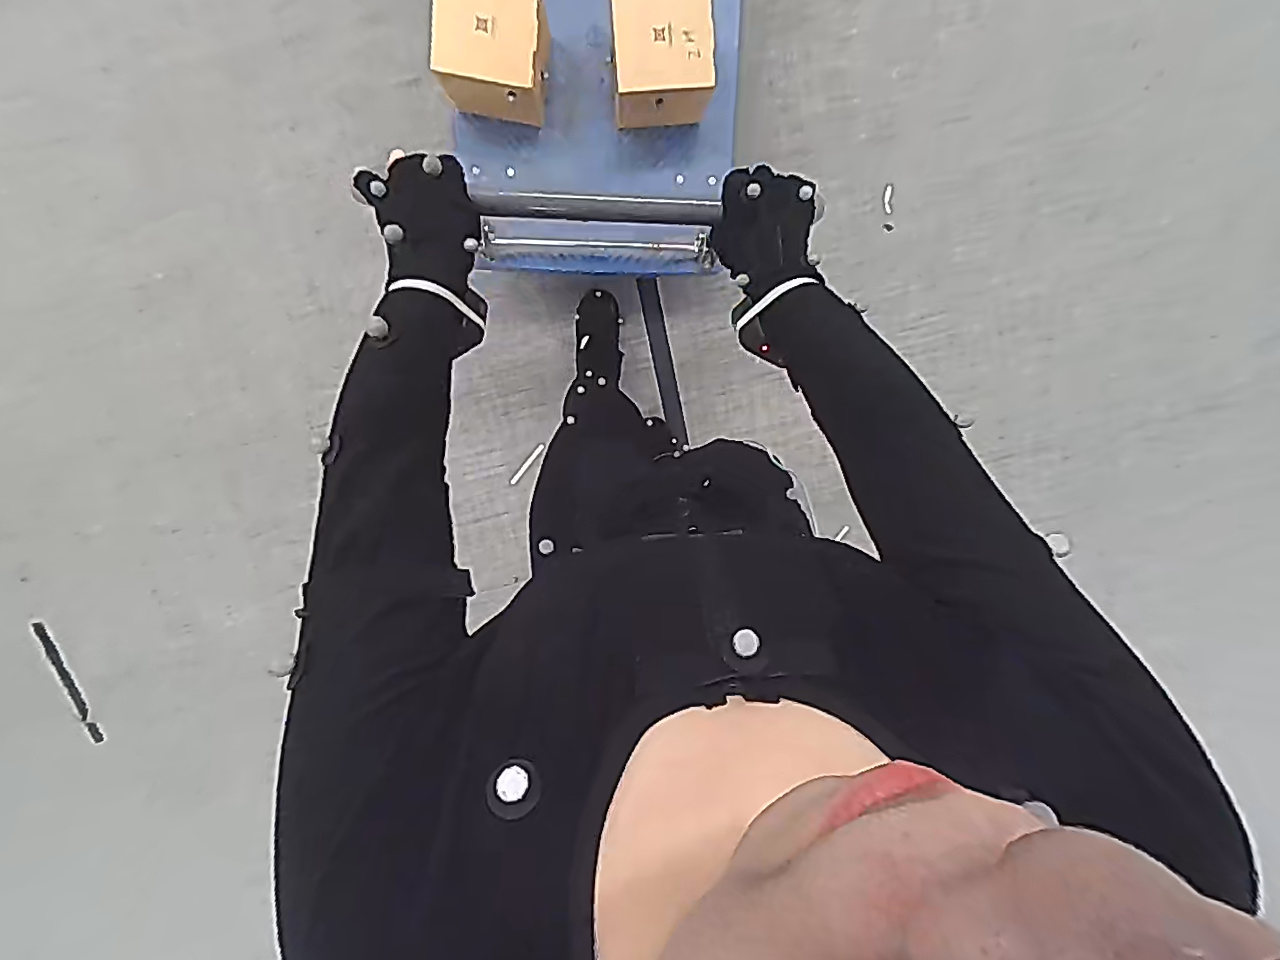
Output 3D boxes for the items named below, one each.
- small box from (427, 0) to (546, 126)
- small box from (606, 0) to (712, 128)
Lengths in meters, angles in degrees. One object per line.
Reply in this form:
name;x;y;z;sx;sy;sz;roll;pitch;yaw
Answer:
small box;-0.272;-0.779;0.987;0.179;0.176;0.168;6;103;-7
small box;0.031;-0.780;1.006;0.179;0.176;0.168;-5;105;-2
